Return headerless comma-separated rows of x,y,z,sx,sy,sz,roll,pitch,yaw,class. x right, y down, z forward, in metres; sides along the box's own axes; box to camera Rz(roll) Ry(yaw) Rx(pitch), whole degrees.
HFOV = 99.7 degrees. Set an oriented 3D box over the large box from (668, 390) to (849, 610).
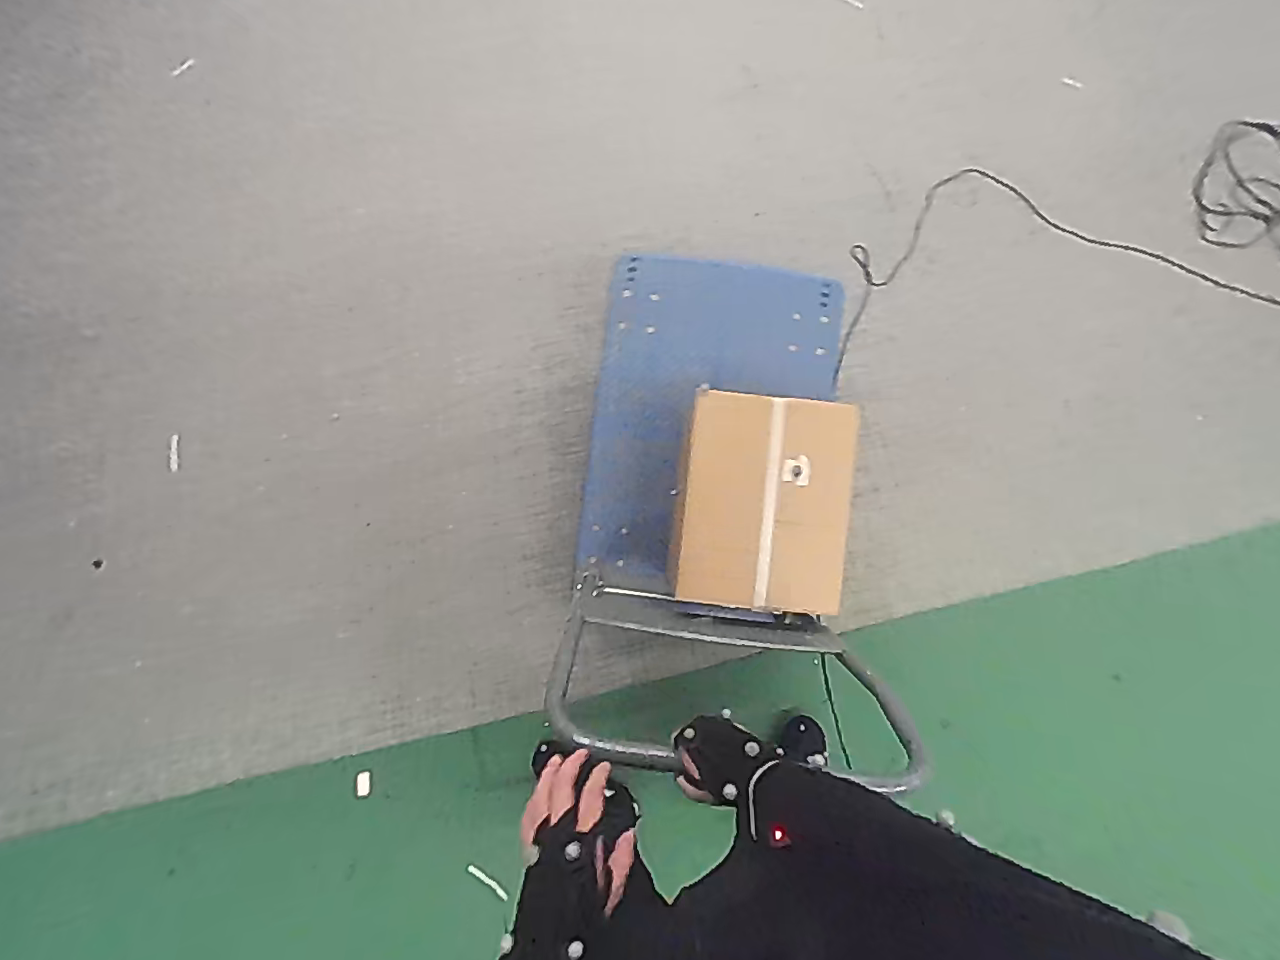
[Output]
0.231,0.044,1.171,0.320,0.320,0.408,5,88,-1,large box
